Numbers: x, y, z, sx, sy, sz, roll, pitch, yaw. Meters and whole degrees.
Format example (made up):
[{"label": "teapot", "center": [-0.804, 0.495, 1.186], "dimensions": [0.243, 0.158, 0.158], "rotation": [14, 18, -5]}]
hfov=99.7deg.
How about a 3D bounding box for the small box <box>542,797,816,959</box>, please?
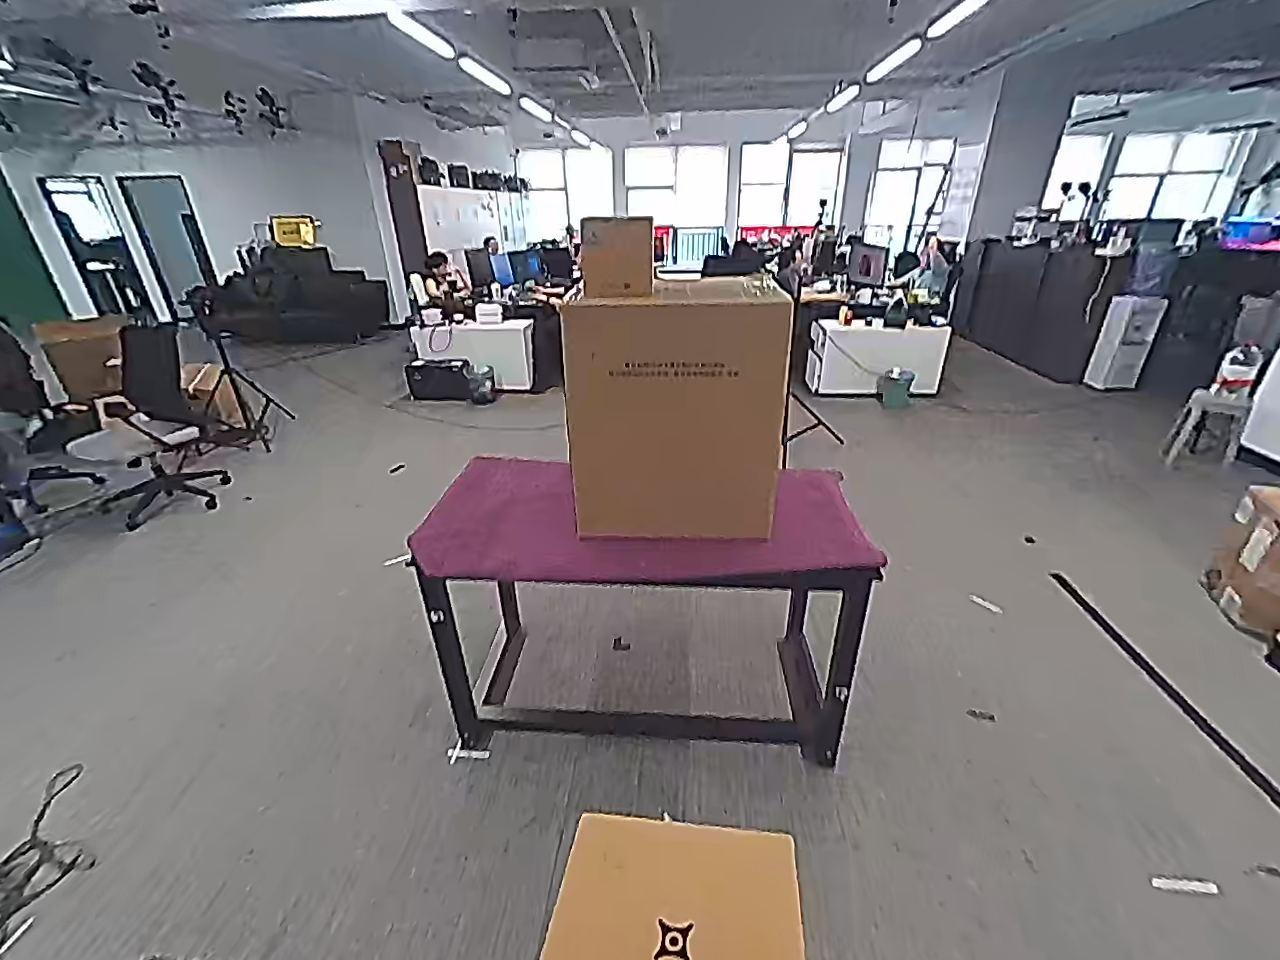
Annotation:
[{"label": "small box", "center": [0.029, 0.358, 0.365], "dimensions": [0.168, 0.176, 0.179], "rotation": [0, 19, 9]}]
